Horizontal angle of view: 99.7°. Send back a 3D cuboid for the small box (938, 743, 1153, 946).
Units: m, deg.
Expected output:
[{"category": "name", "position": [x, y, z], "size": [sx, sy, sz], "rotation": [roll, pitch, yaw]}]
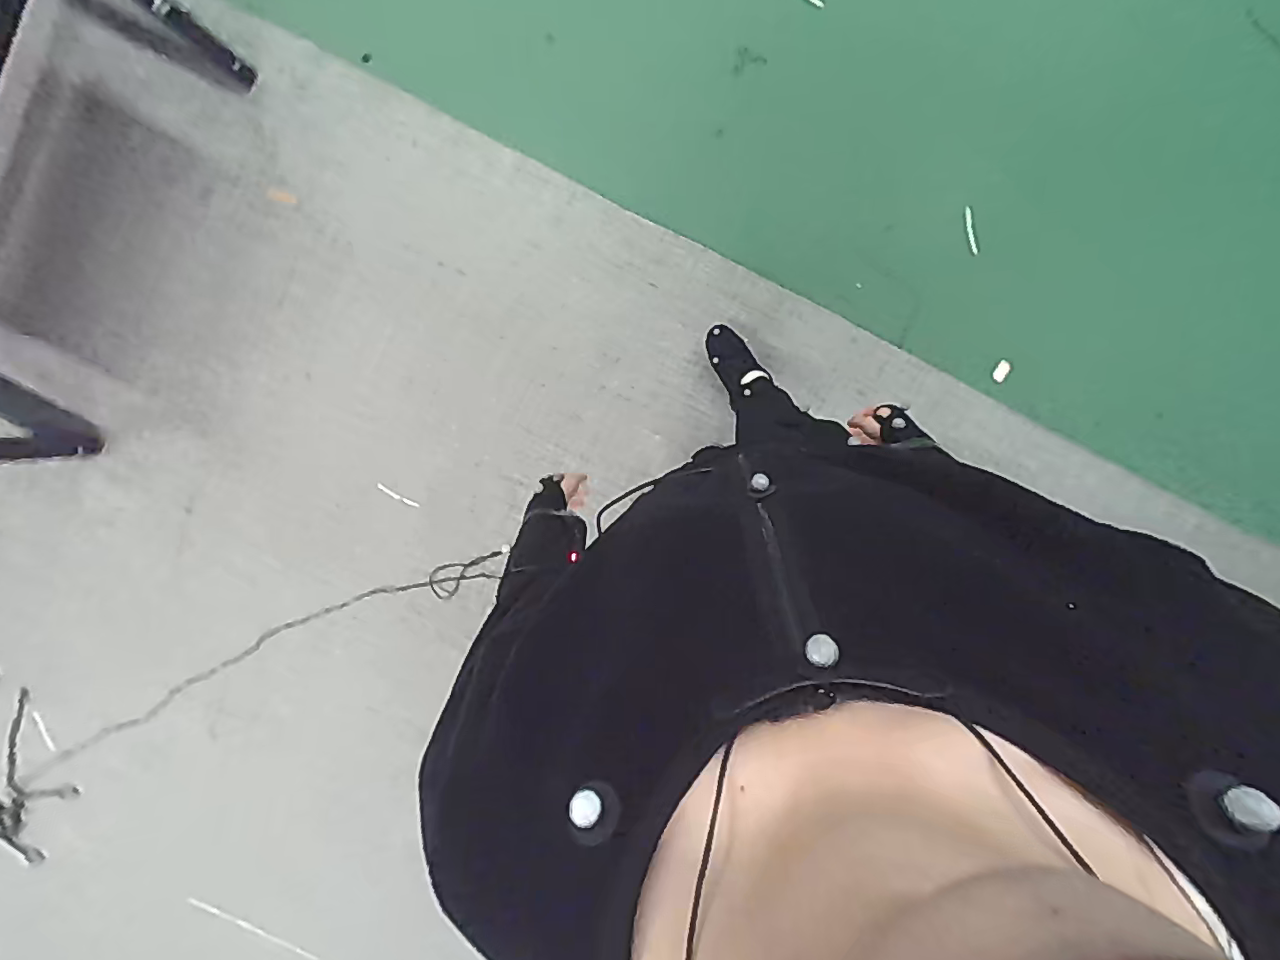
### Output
[{"category": "small box", "position": [0.615, 0.552, 0.849], "size": [0.179, 0.176, 0.168], "rotation": [29, 97, 1]}]
